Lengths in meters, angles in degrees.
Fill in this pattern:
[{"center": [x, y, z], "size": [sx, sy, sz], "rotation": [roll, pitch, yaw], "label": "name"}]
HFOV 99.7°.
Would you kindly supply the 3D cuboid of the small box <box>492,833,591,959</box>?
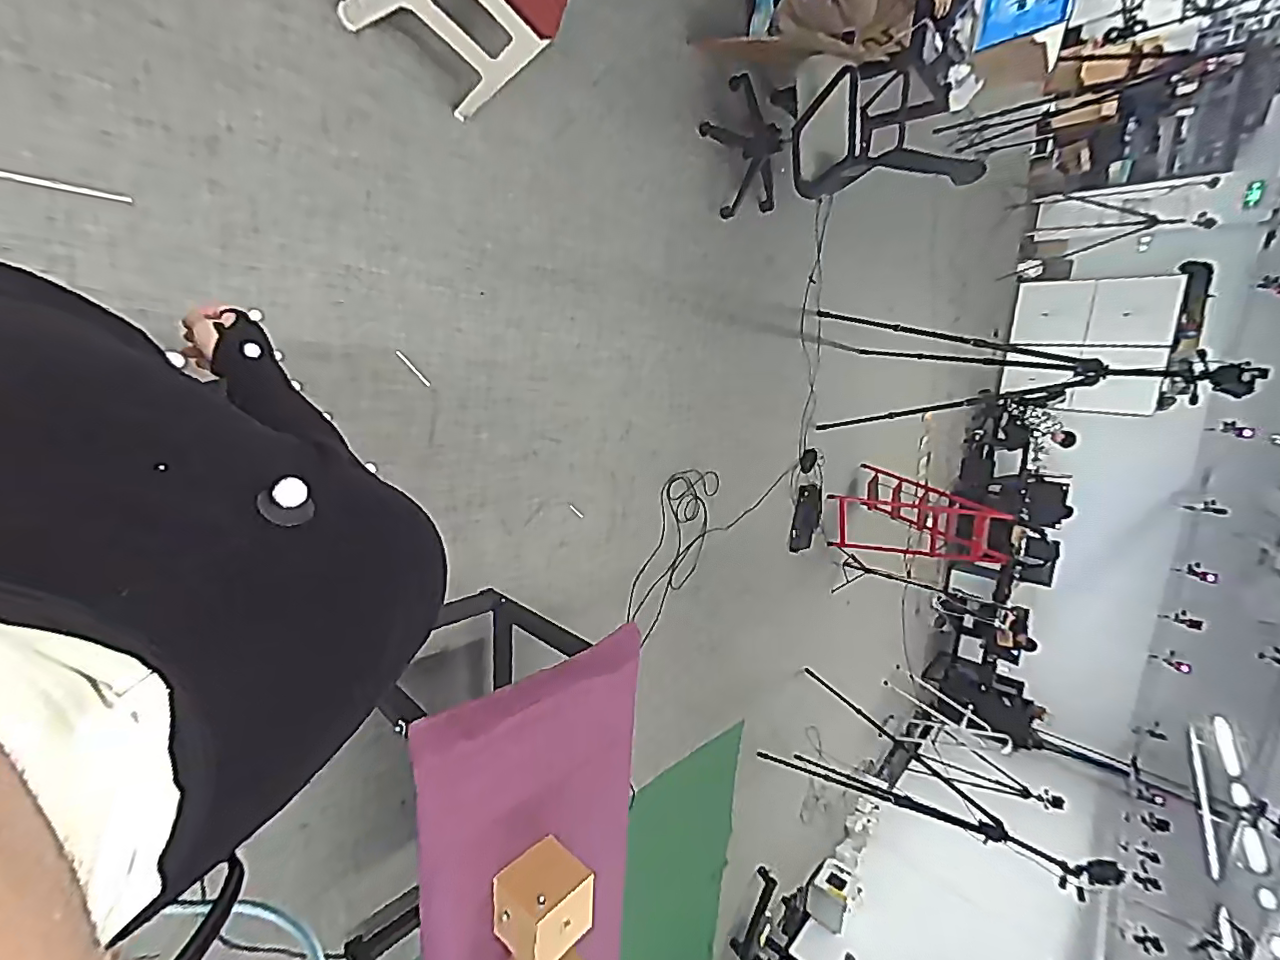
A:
[{"center": [-0.243, 1.022, 1.327], "size": [0.179, 0.176, 0.168], "rotation": [-11, 108, -46], "label": "small box"}]
